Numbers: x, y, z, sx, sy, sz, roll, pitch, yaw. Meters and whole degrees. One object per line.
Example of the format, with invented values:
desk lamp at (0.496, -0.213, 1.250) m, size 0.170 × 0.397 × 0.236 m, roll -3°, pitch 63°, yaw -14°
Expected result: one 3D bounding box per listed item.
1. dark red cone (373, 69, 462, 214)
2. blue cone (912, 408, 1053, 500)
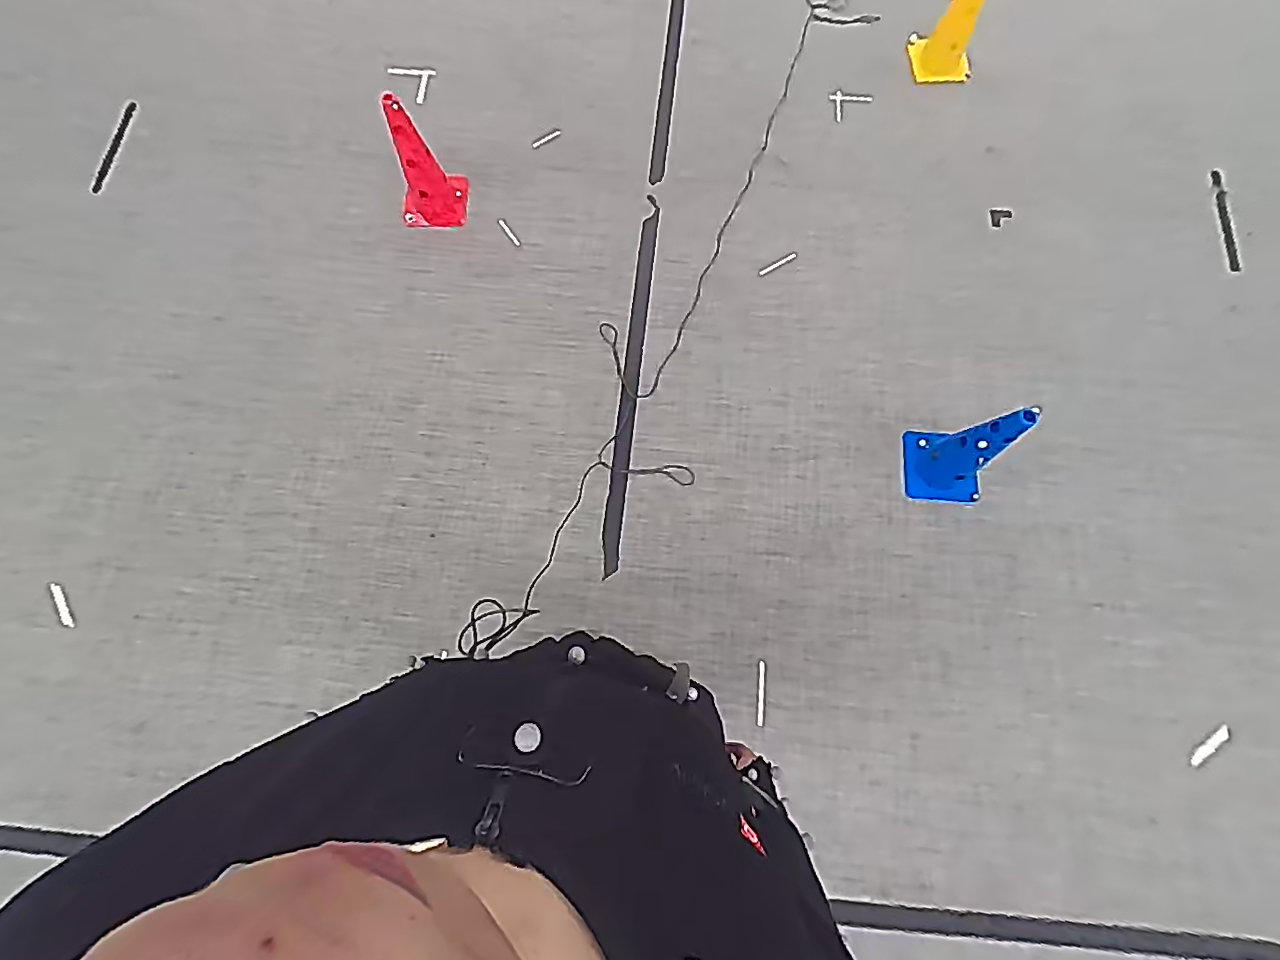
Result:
dark red cone at (-0.663, -0.967, 1.550) m, size 0.201 × 0.394 × 0.202 m, roll -2°, pitch 74°, yaw -2°
blue cone at (0.845, -0.087, 1.325) m, size 0.192 × 0.380 × 0.193 m, roll 6°, pitch 74°, yaw 1°
